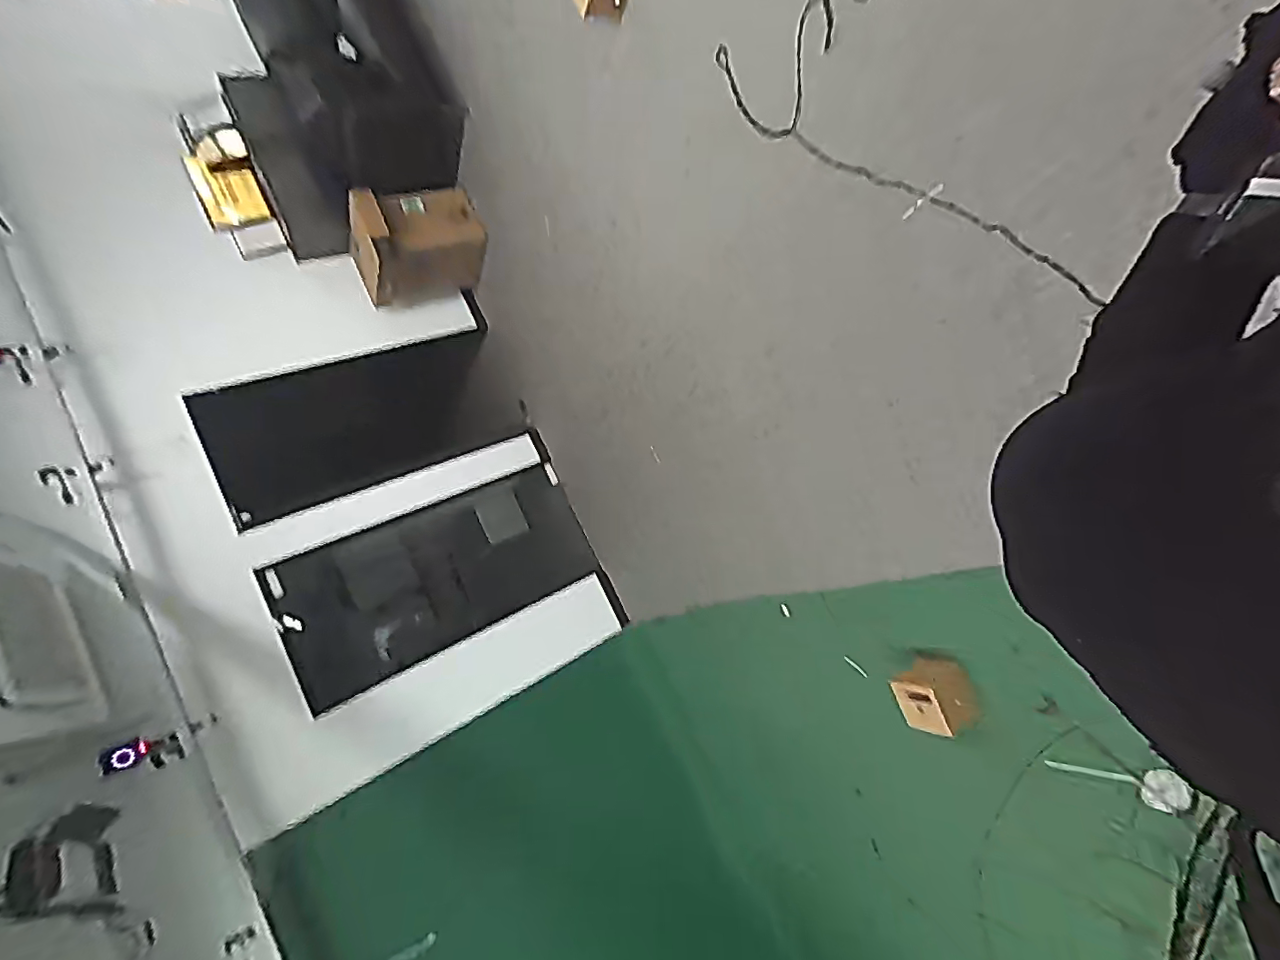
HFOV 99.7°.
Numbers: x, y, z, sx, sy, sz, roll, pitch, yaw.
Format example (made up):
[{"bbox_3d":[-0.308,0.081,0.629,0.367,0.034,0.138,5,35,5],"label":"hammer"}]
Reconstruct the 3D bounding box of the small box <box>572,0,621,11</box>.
[{"bbox_3d":[-0.157,-1.800,1.906,0.179,0.176,0.168,63,152,6],"label":"small box"}]
